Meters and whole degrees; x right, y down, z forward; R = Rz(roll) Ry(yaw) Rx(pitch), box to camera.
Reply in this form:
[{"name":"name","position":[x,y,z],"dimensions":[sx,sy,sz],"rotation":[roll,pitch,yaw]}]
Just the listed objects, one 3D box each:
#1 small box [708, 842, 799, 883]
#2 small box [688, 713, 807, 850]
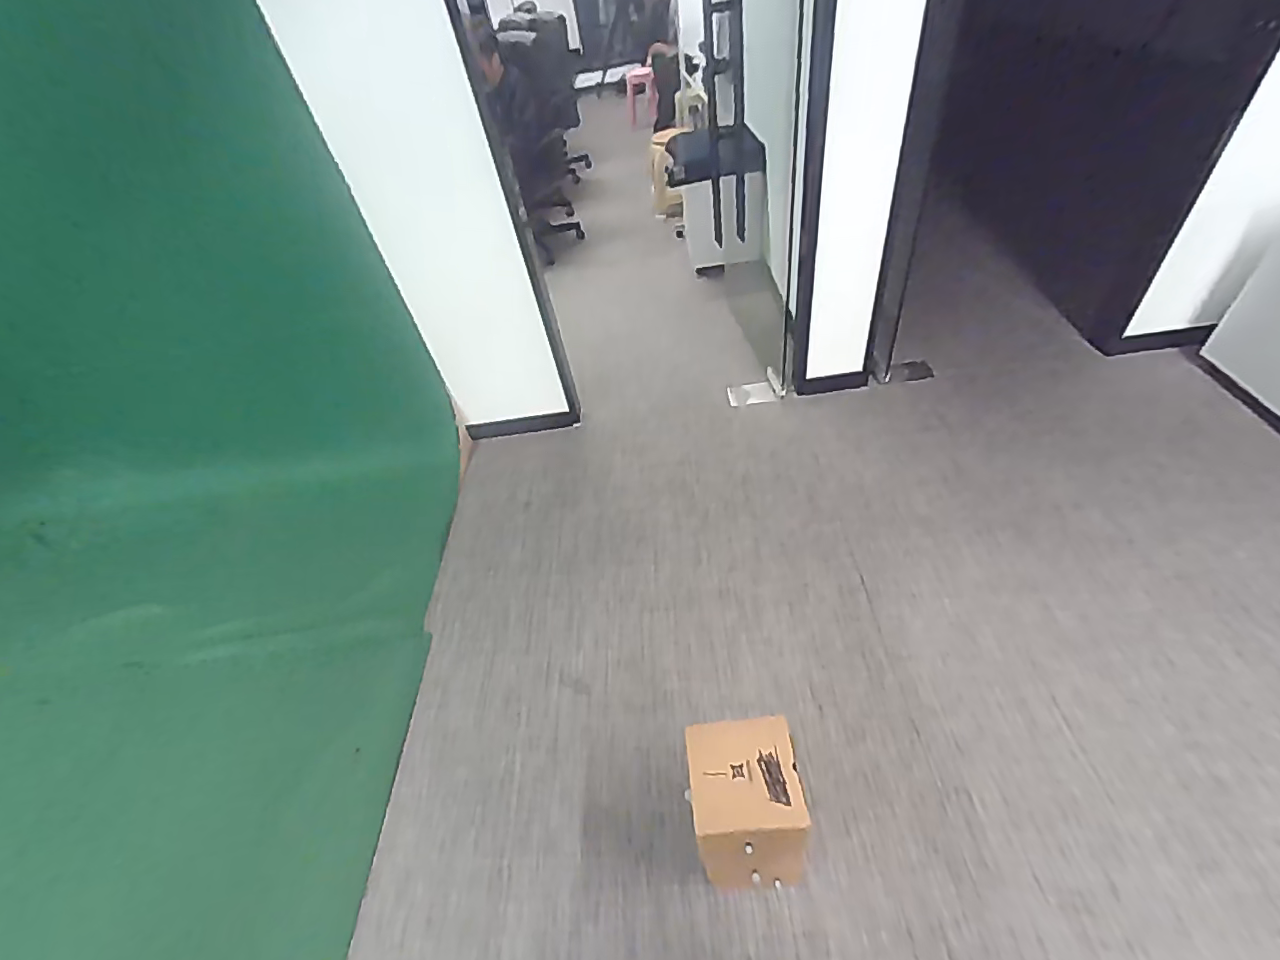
[{"name":"small box","position":[0.232,0.746,1.158],"dimensions":[0.179,0.176,0.168],"rotation":[-9,44,6]},{"name":"small box","position":[0.177,0.517,0.926],"dimensions":[0.179,0.176,0.168],"rotation":[-5,43,7]}]
